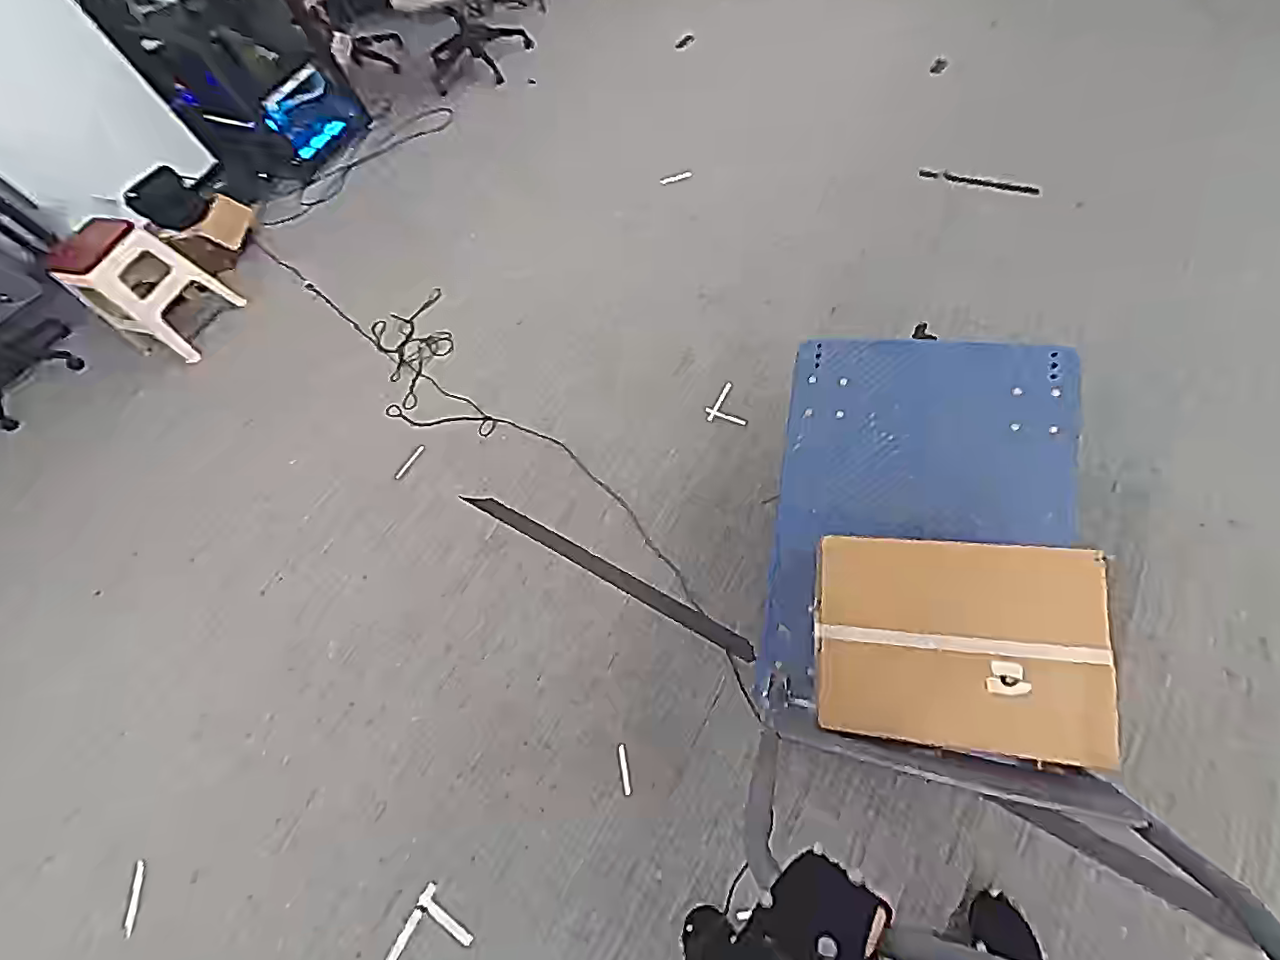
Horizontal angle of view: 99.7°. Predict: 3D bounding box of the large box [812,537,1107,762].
[{"bbox_3d":[0.533,0.284,1.000,0.408,0.320,0.320,2,81,16],"label":"large box"}]
